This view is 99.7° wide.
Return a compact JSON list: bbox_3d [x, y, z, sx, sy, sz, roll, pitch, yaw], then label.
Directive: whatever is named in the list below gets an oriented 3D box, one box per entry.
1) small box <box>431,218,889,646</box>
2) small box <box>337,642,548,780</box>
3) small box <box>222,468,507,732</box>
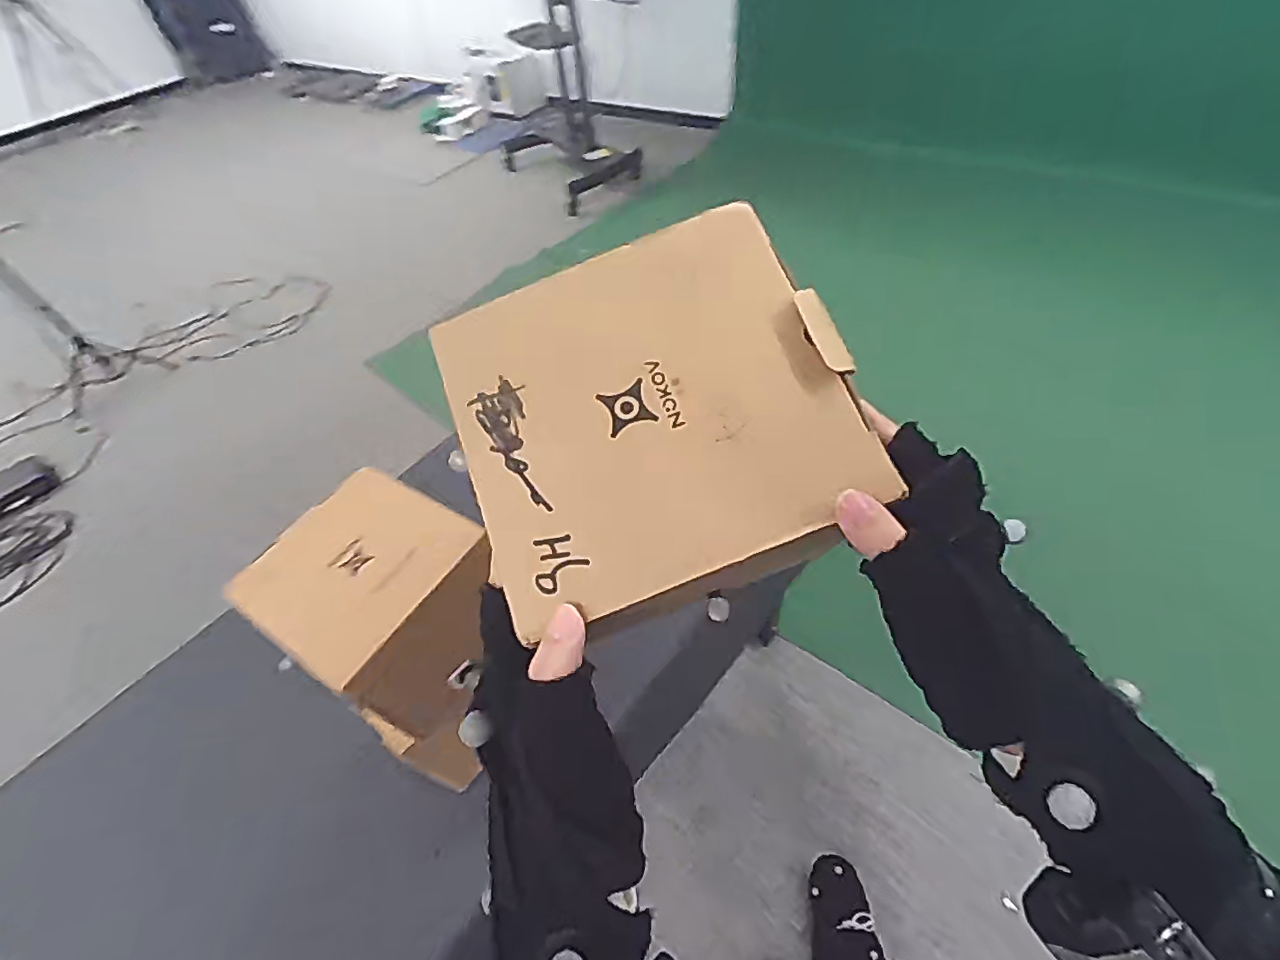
[{"bbox_3d":[0.008,-0.010,0.326,0.179,0.176,0.168,-20,72,1],"label":"small box"},{"bbox_3d":[-0.239,0.230,0.664,0.168,0.176,0.179,27,59,28],"label":"small box"},{"bbox_3d":[-0.248,0.122,0.543,0.179,0.176,0.168,23,59,24],"label":"small box"}]
